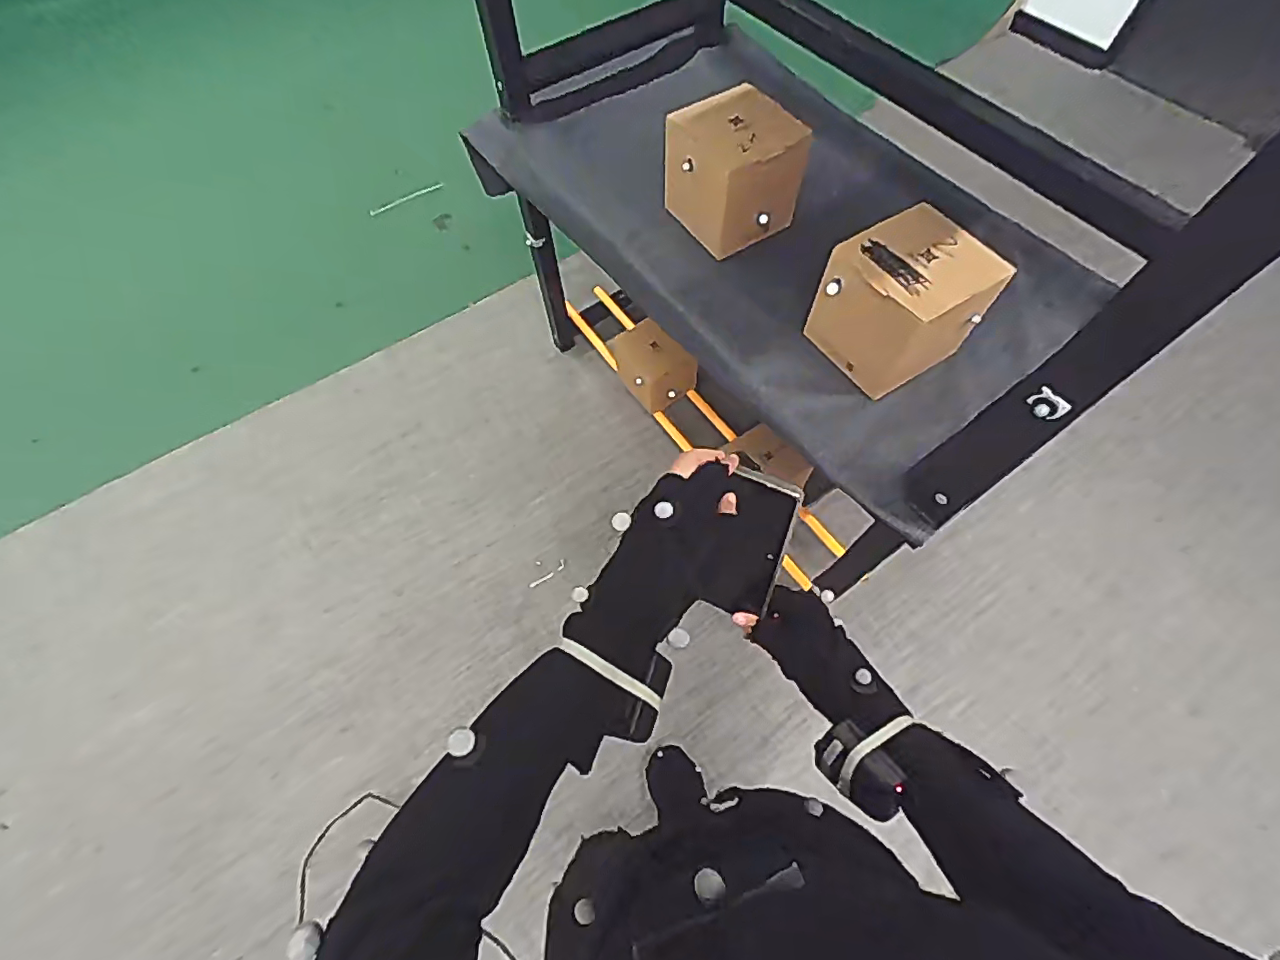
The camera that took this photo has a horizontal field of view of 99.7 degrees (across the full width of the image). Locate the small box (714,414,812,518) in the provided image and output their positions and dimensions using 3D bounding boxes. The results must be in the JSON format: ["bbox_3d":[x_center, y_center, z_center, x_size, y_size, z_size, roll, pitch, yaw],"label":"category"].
[{"bbox_3d":[0.301,-0.029,1.374,0.179,0.176,0.168,-30,67,-12],"label":"small box"}]

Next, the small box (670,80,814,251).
[{"bbox_3d":[0.161,-0.536,0.931,0.168,0.176,0.179,-30,67,-12],"label":"small box"}]
